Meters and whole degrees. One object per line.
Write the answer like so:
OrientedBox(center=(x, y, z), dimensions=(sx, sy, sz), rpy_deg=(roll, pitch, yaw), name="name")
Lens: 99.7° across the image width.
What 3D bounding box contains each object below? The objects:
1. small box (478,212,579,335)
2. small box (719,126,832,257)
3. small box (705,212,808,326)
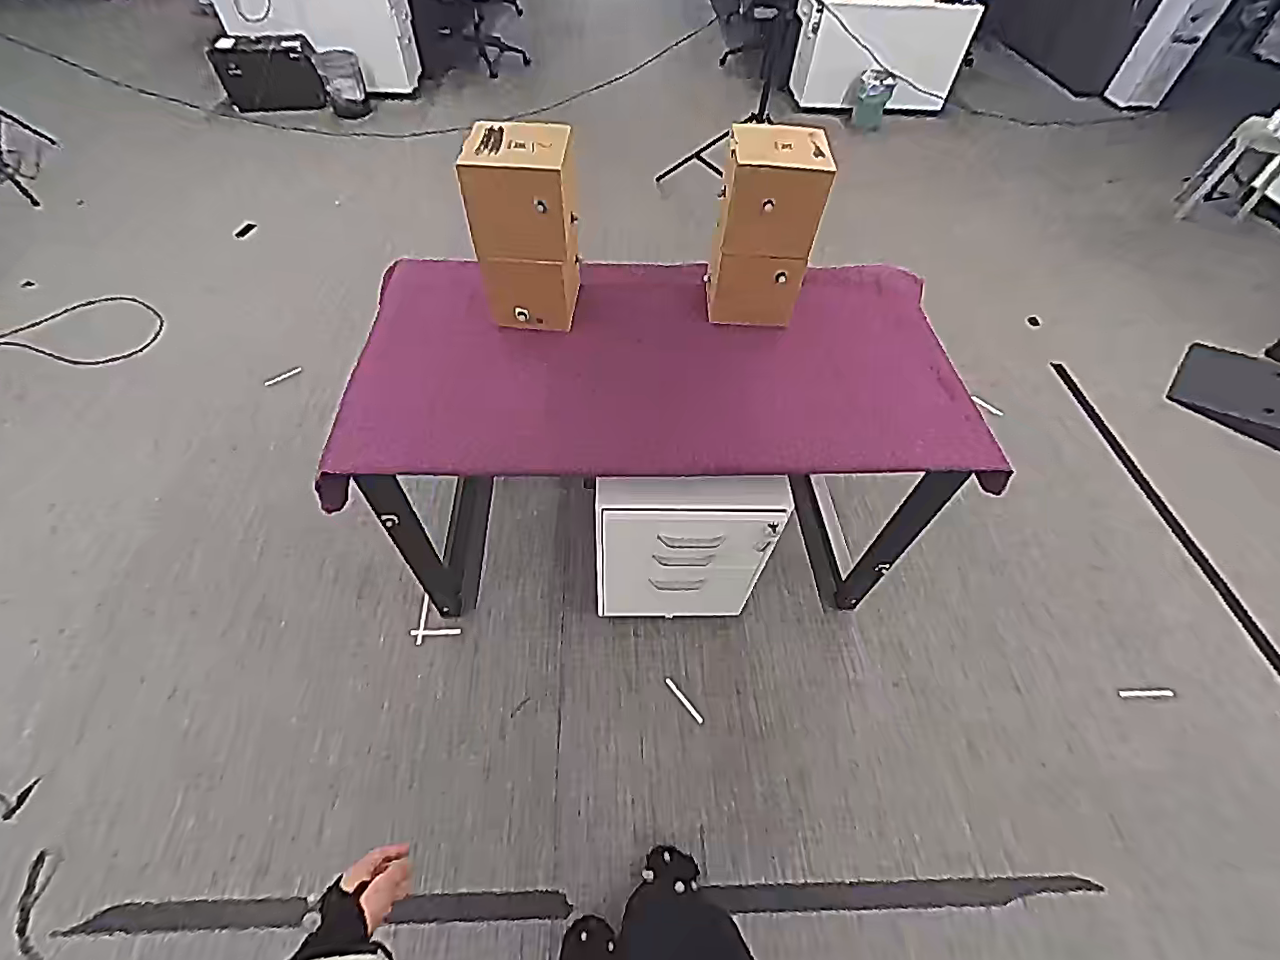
OrientedBox(center=(-0.222, -0.430, 1.130), dimensions=(0.168, 0.176, 0.179), rpy_deg=(3, 56, 1), name="small box")
OrientedBox(center=(0.246, -0.548, 1.034), dimensions=(0.179, 0.176, 0.168), rpy_deg=(3, 55, 0), name="small box")
OrientedBox(center=(0.241, -0.450, 1.166), dimensions=(0.179, 0.176, 0.168), rpy_deg=(2, 54, -1), name="small box")
